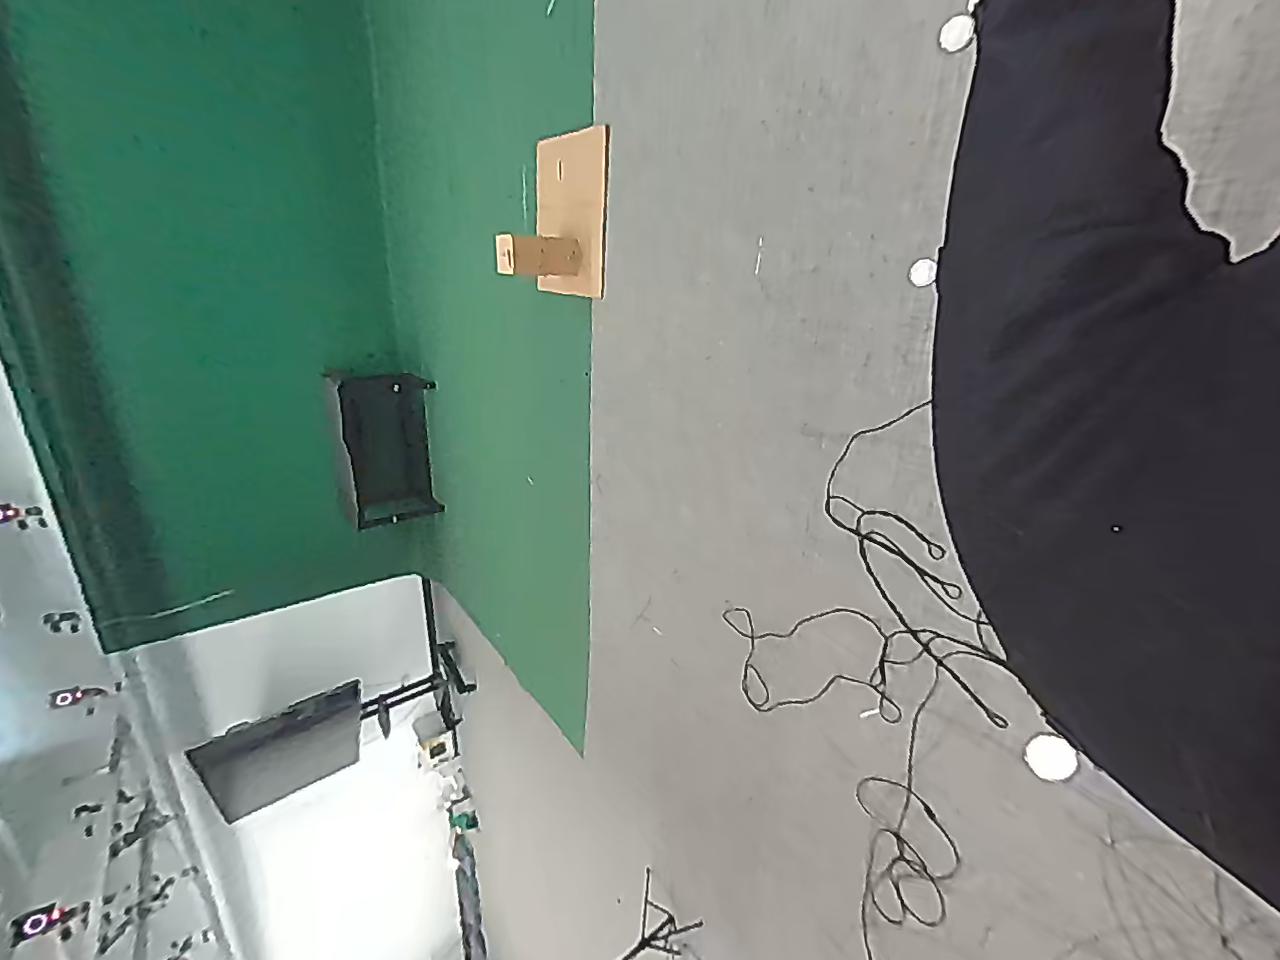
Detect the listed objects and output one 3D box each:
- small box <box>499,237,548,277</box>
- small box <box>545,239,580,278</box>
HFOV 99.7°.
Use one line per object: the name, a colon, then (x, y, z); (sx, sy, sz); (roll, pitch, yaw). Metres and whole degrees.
small box: (-0.536, -1.032, 2.506); (0.179, 0.176, 0.168); (28, 123, 47)
small box: (-0.406, -1.064, 2.602); (0.179, 0.176, 0.168); (25, 121, 47)
